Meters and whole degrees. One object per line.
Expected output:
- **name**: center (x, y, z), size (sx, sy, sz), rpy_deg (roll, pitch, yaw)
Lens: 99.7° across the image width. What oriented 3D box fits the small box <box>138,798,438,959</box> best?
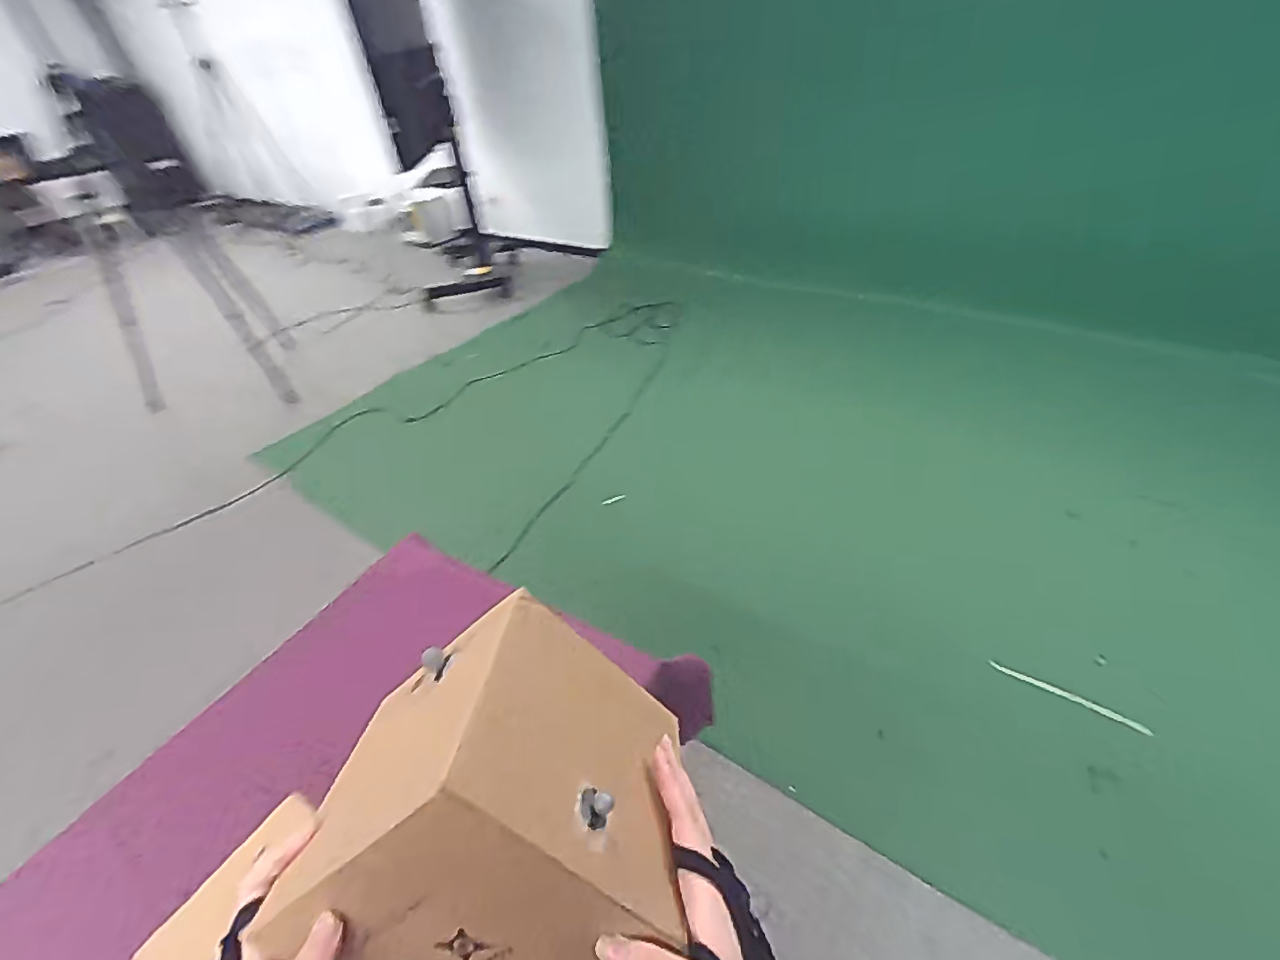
- **small box**: center (-0.347, 0.483, 0.566), size (0.179, 0.176, 0.168), rpy_deg (18, 45, 27)
